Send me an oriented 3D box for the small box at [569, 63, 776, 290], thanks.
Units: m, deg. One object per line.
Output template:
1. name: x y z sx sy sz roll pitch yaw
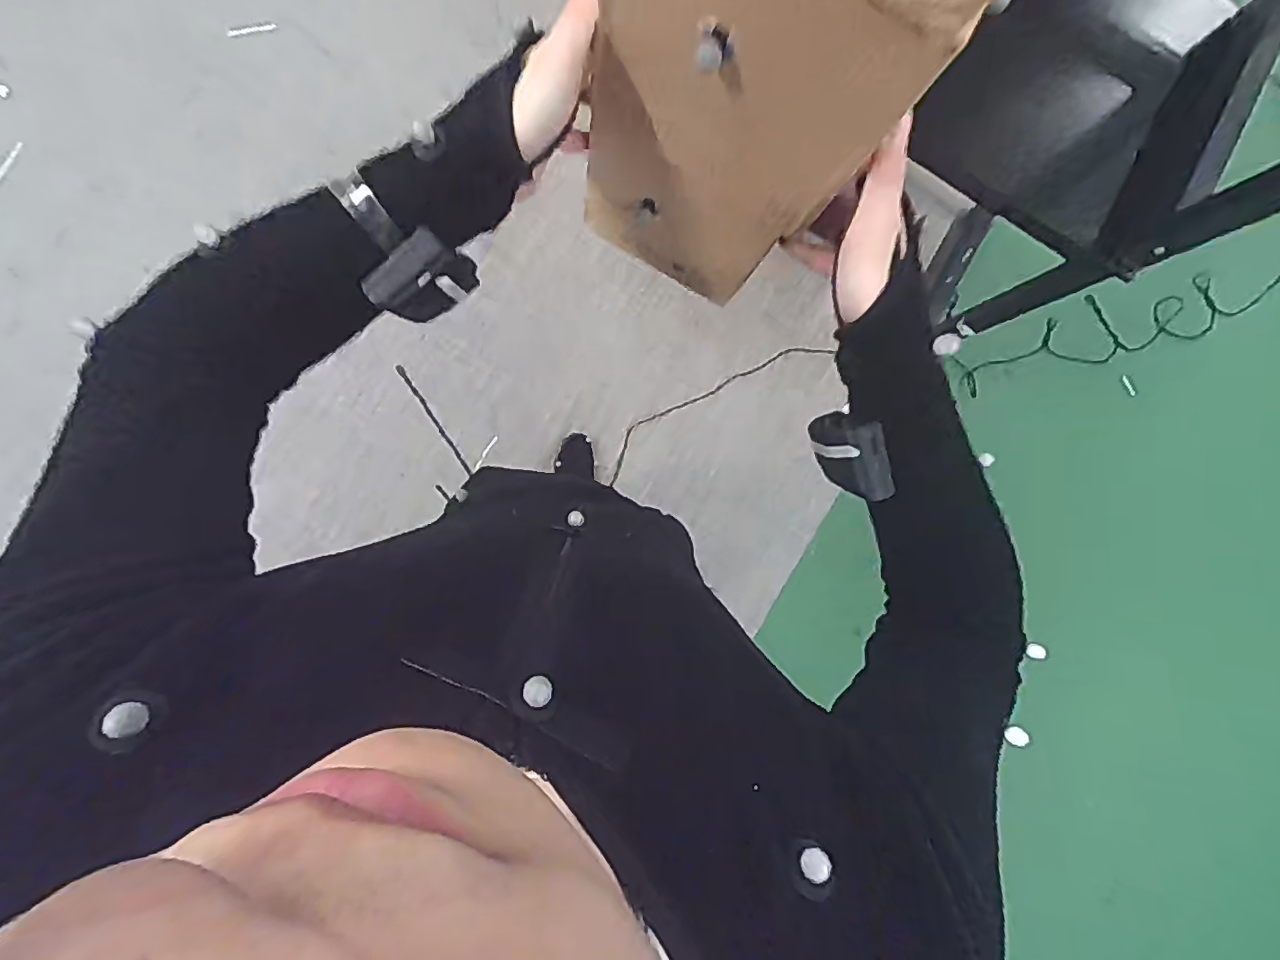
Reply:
1. small box: 0.052 -0.293 0.450 0.168 0.176 0.179 29 83 -7

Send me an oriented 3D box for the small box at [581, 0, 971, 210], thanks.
1. small box: 0.080 -0.287 0.288 0.179 0.176 0.168 31 84 -6
